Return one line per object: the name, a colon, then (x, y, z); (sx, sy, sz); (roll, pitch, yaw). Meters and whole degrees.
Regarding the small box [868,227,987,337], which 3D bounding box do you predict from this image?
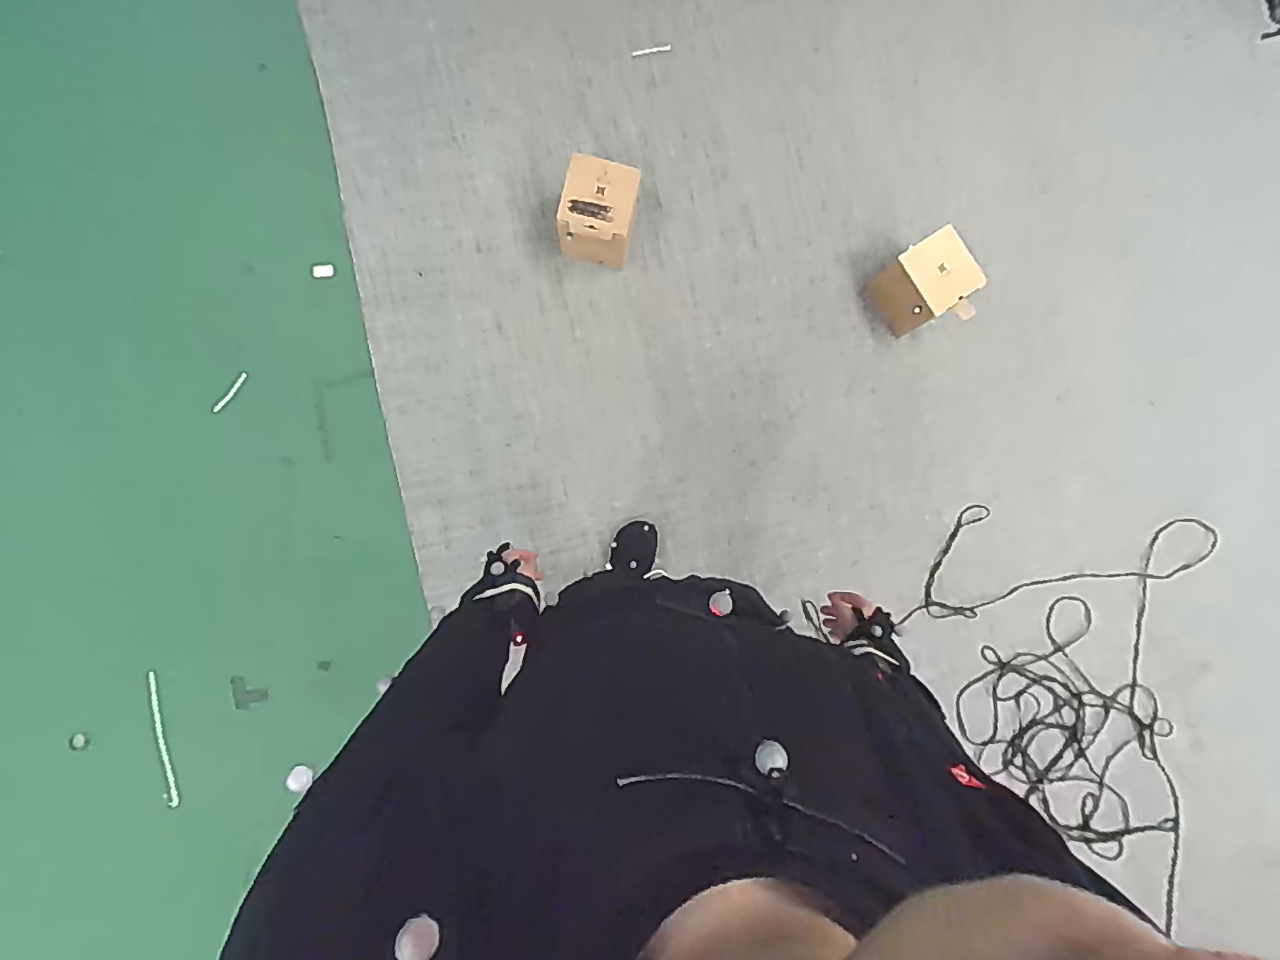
small box: (0.724, -0.497, 1.384); (0.168, 0.176, 0.179); (-34, 91, -5)
